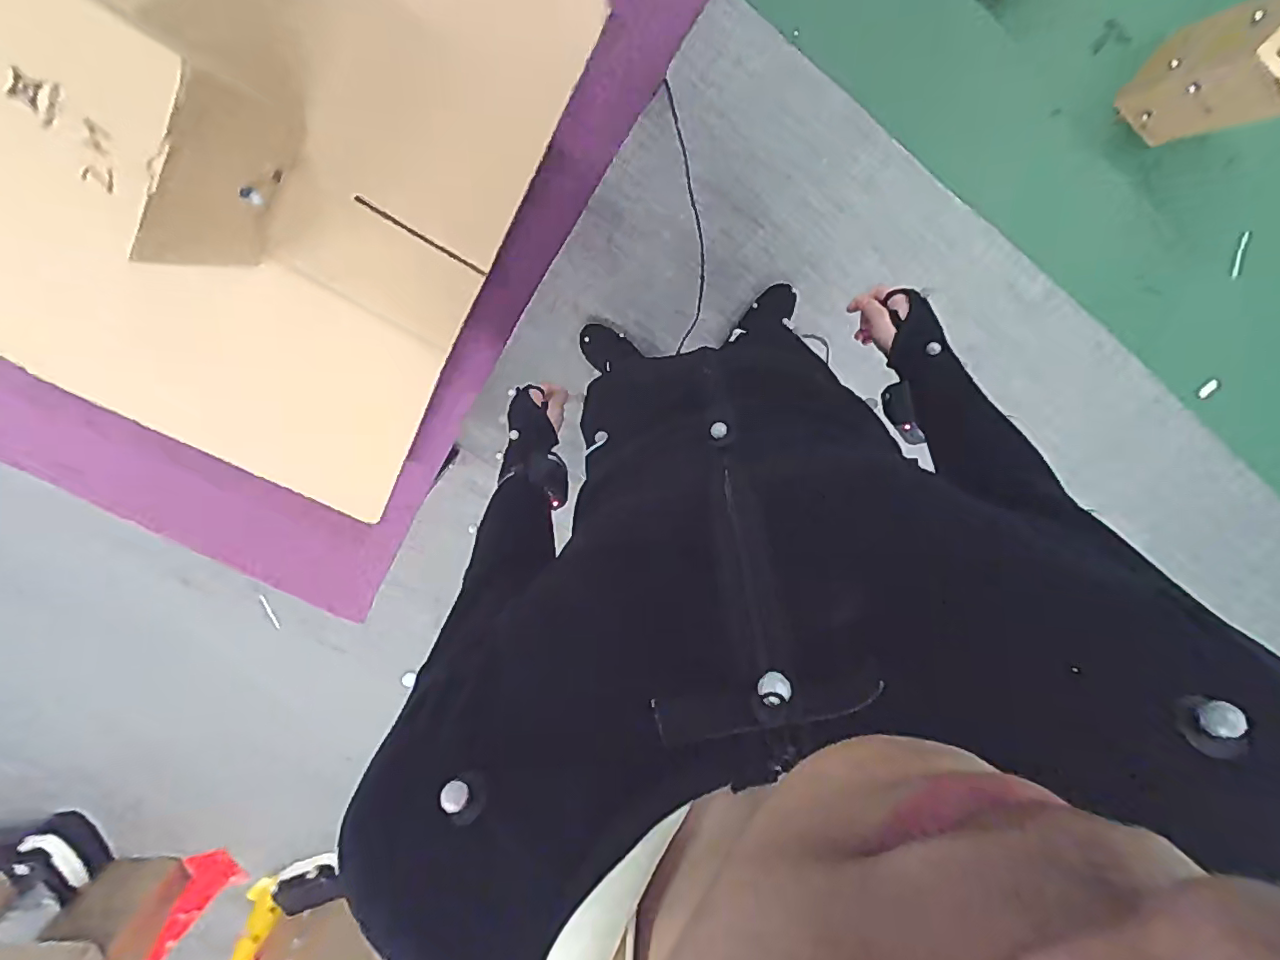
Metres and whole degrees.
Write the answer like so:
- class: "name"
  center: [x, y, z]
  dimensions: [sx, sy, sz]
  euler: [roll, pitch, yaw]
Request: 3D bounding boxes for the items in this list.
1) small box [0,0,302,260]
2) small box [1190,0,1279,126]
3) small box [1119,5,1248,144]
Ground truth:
- class: "small box"
  center: [-0.452, -0.311, 0.479]
  dimensions: [0.179, 0.176, 0.168]
  euler: [30, 106, -13]
- class: "small box"
  center: [1.301, -0.870, 1.107]
  dimensions: [0.168, 0.176, 0.179]
  euler: [34, 106, -15]
- class: "small box"
  center: [1.296, -0.930, 1.260]
  dimensions: [0.168, 0.176, 0.179]
  euler: [33, 107, -14]
